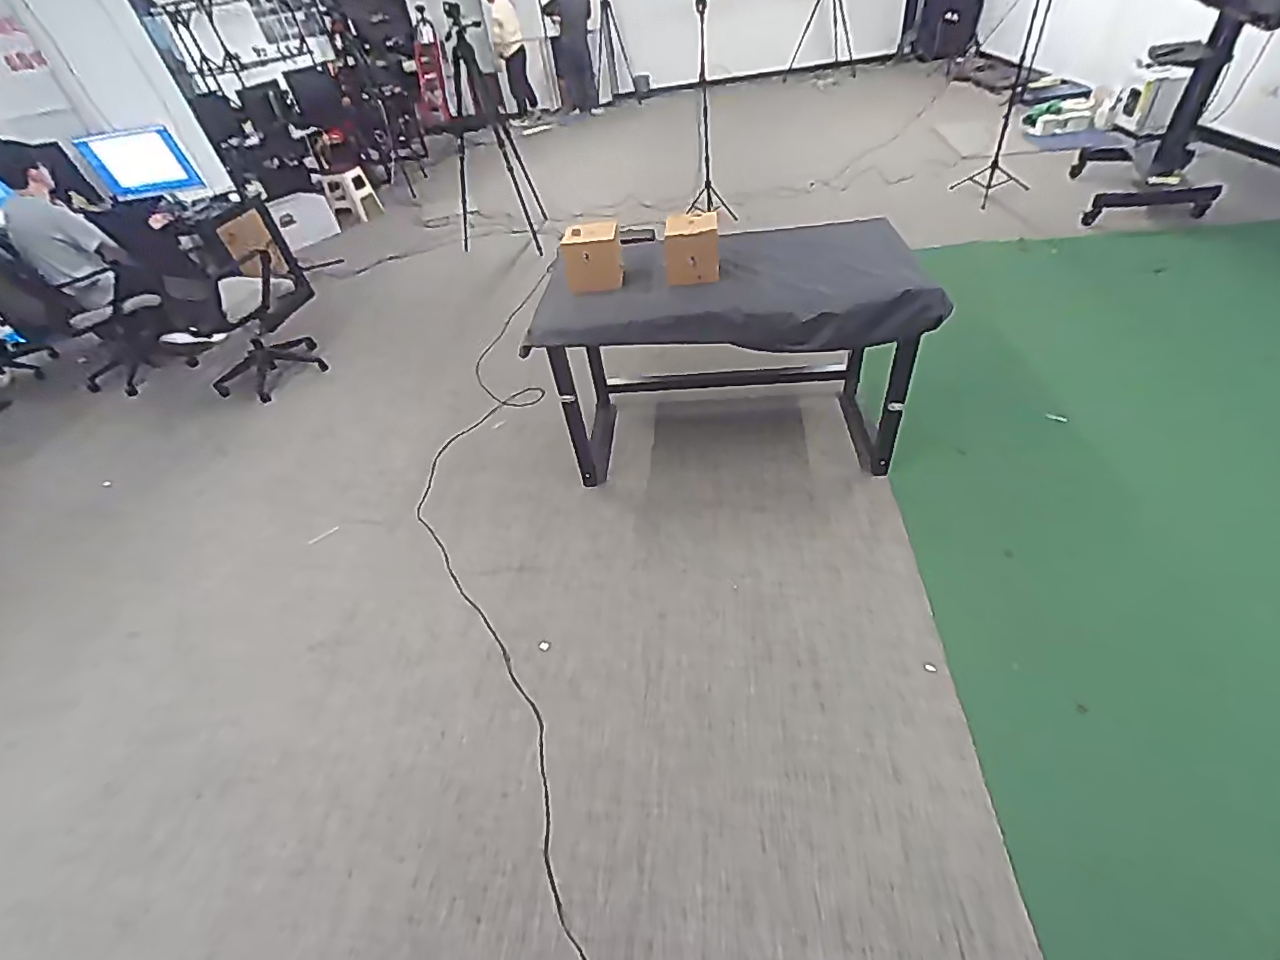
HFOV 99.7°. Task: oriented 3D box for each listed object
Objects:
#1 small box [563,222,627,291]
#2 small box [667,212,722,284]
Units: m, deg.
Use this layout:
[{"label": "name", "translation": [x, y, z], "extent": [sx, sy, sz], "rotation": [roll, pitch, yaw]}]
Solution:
[{"label": "small box", "translation": [-0.146, -0.750, 1.822], "extent": [0.179, 0.176, 0.168], "rotation": [-2, 43, 6]}, {"label": "small box", "translation": [0.181, -0.754, 1.769], "extent": [0.168, 0.176, 0.179], "rotation": [-1, 44, 9]}]
